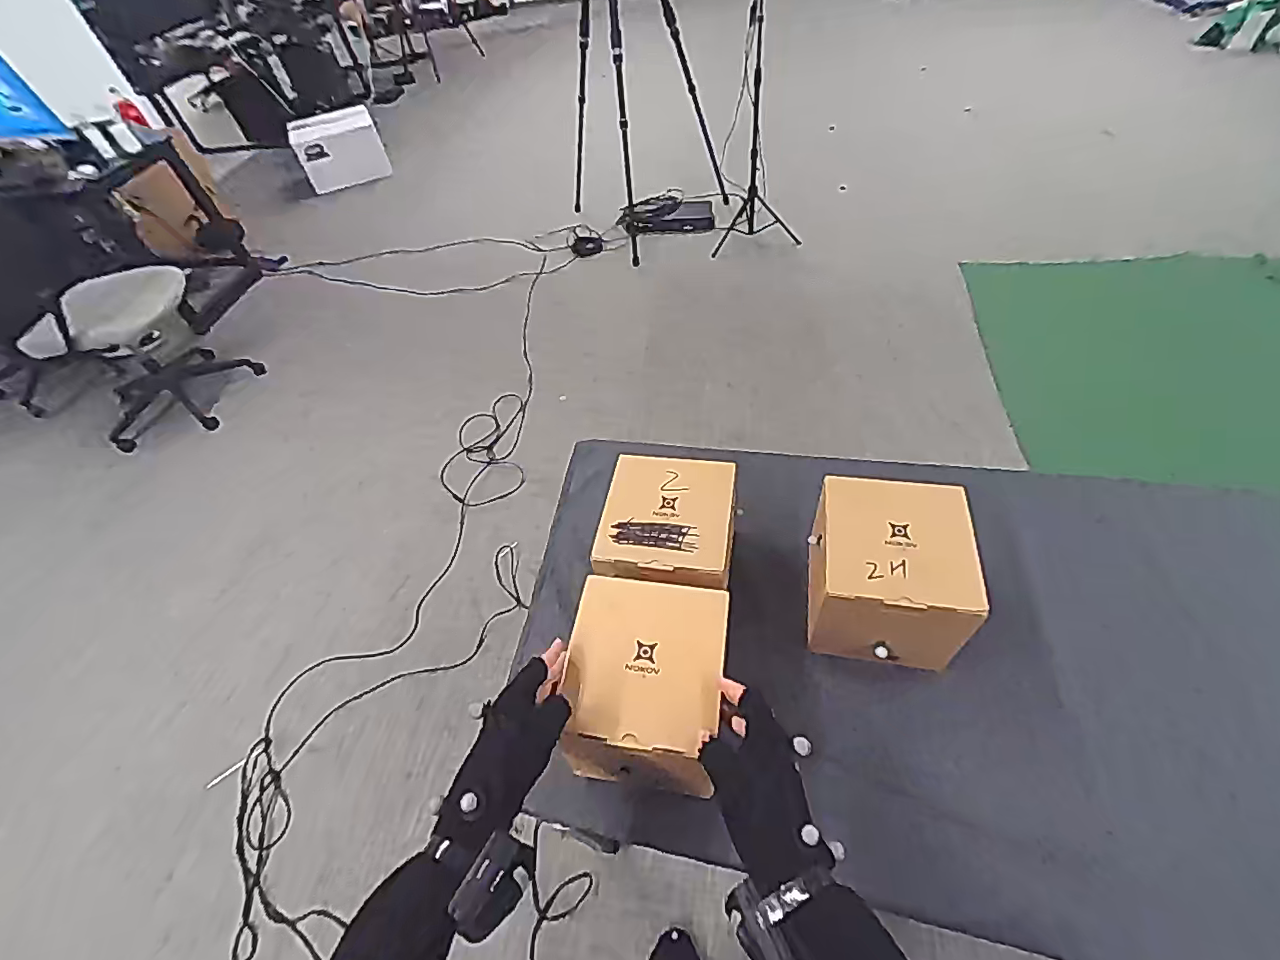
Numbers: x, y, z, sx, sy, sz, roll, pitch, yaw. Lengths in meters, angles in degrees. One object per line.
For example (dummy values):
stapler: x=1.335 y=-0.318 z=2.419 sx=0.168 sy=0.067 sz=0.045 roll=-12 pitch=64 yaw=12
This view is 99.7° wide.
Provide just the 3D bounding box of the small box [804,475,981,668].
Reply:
small box: x=0.309 y=0.119 z=0.701 sx=0.168 sy=0.176 sz=0.179 roll=5 pitch=52 yaw=12

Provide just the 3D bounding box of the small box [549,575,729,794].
small box: x=0.008 y=0.236 z=0.625 sx=0.168 sy=0.176 sz=0.179 roll=6 pitch=50 yaw=9
